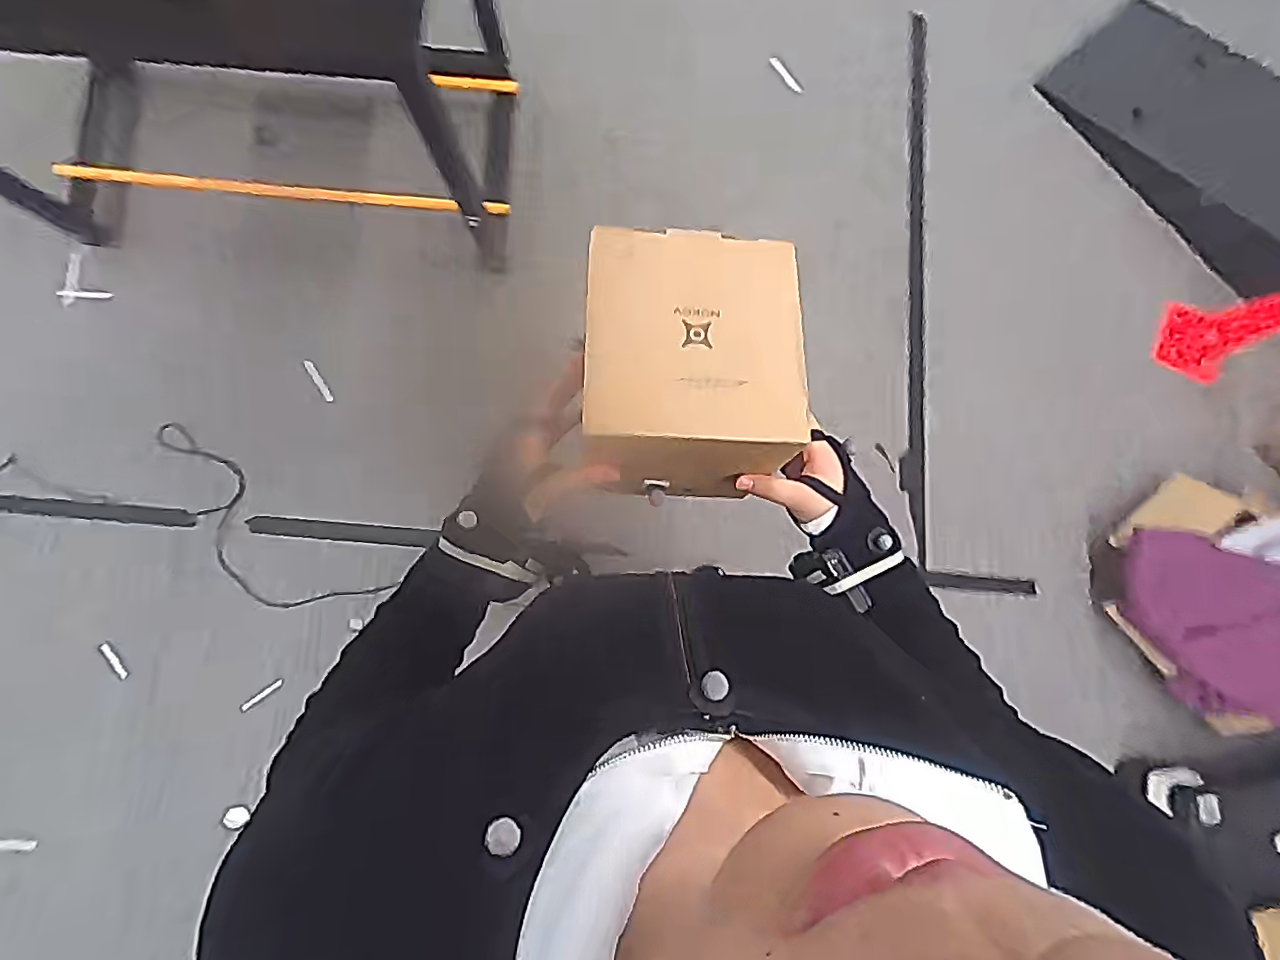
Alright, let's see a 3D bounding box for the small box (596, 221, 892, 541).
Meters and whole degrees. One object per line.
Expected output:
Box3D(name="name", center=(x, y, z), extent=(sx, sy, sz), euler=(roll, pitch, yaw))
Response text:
Box3D(name="small box", center=(0.052, -0.056, 0.399), extent=(0.168, 0.176, 0.179), euler=(0, 74, -6))
